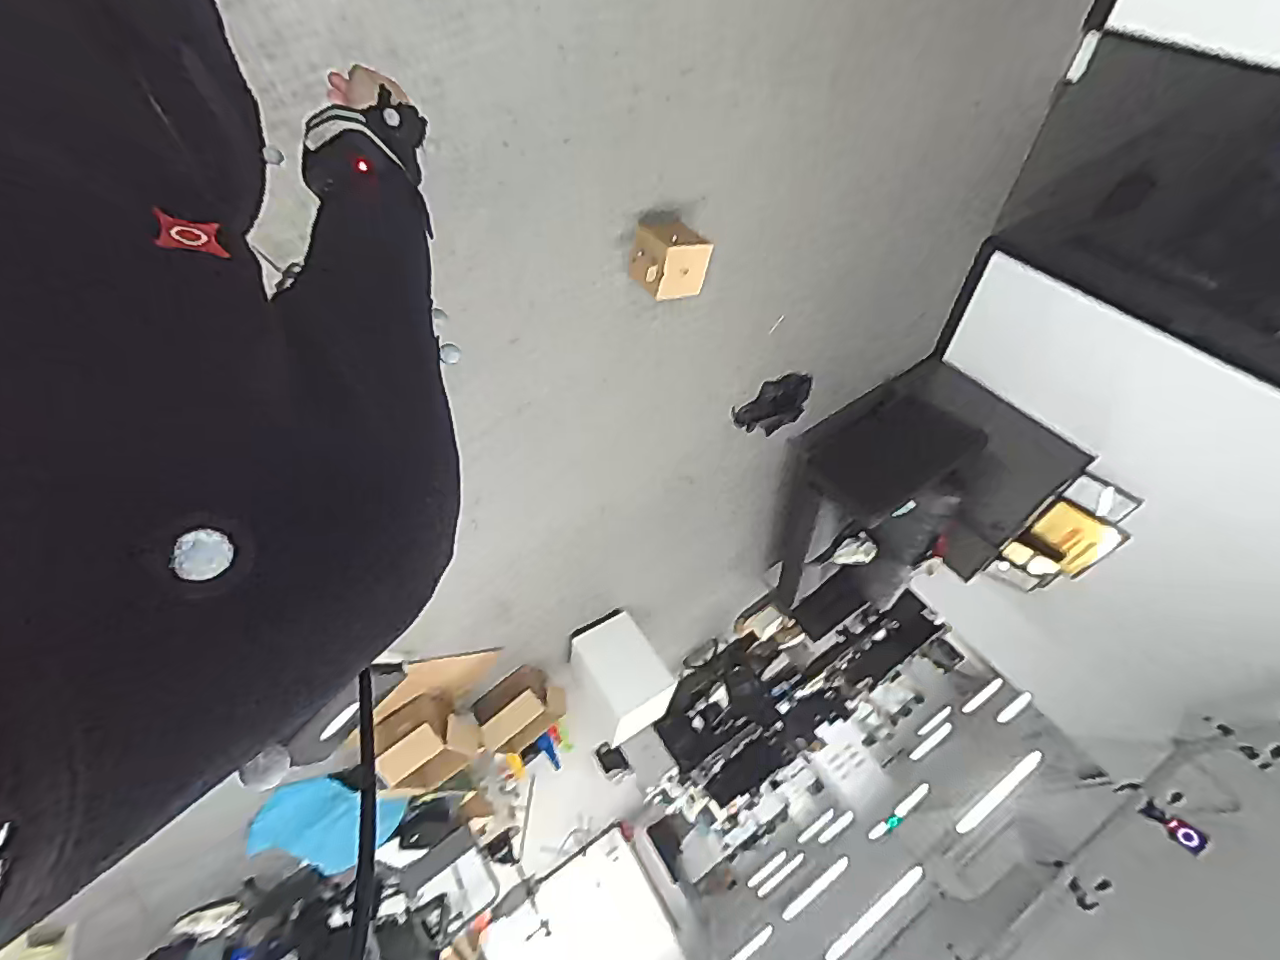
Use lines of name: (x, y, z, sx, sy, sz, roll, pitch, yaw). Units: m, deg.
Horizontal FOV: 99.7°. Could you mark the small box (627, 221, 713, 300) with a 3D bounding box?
small box: (0.087, -0.676, 1.656, 0.179, 0.176, 0.168, -19, 144, -31)
